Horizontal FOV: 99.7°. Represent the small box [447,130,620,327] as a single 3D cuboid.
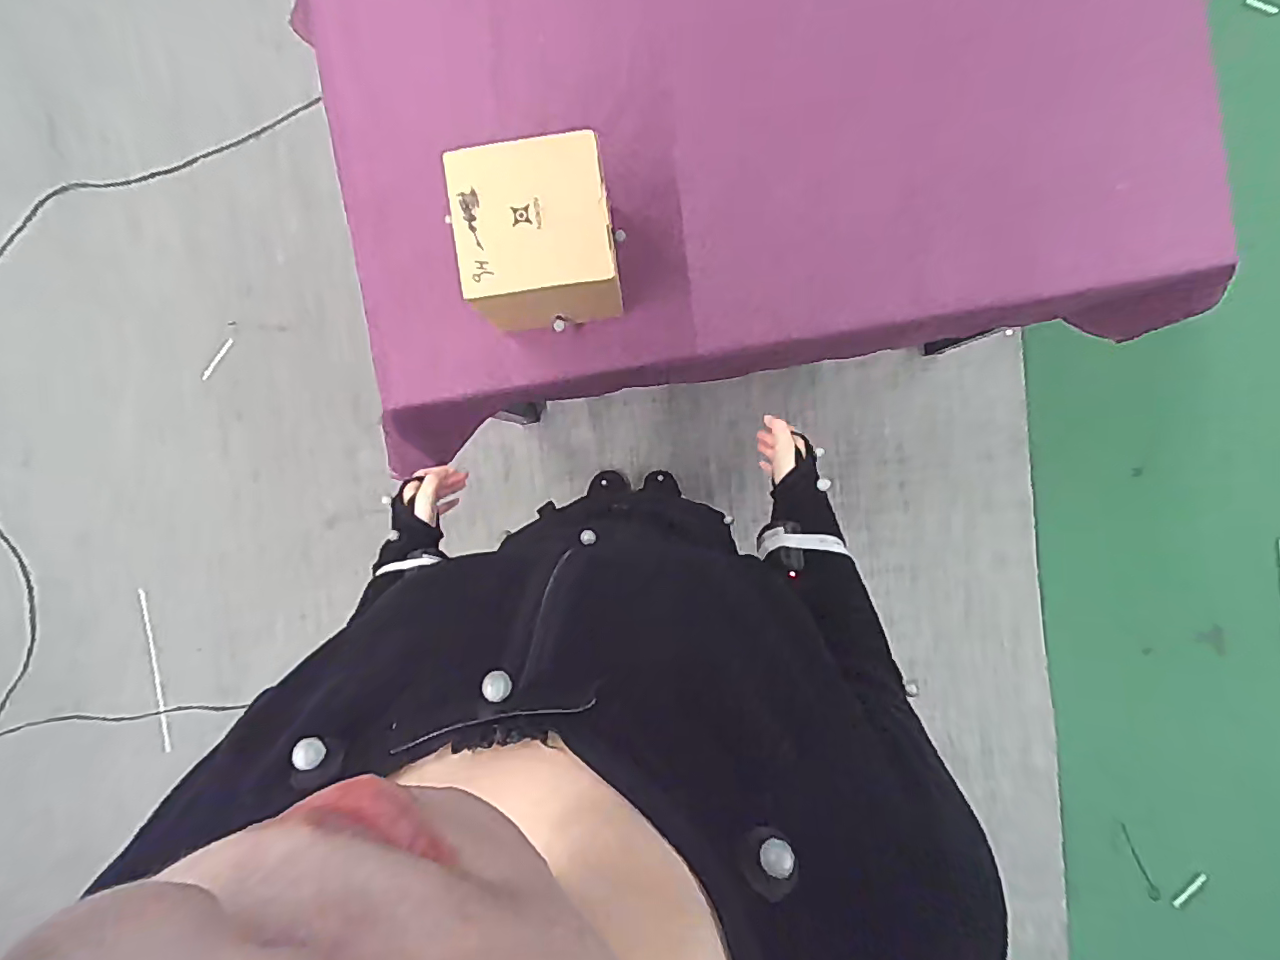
[{"bbox_3d":[-0.120,-0.301,0.681,0.179,0.176,0.168,-7,92,1],"label":"small box"}]
